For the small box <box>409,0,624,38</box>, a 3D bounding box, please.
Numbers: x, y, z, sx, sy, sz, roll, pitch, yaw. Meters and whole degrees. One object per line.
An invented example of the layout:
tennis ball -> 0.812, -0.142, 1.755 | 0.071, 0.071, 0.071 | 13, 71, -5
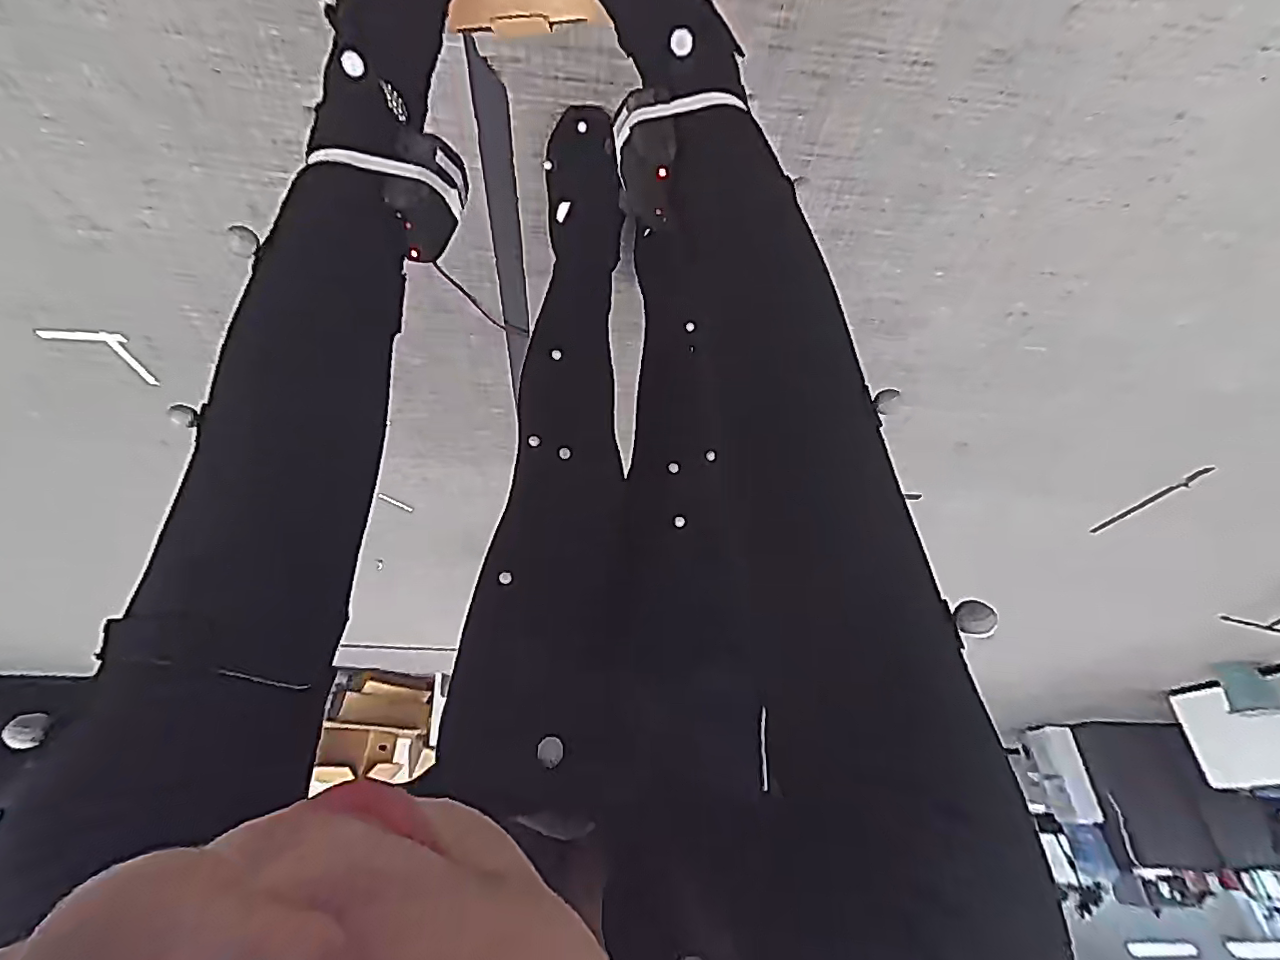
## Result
small box -> -0.095, -0.461, 0.387 | 0.168, 0.176, 0.179 | -2, 149, 3
